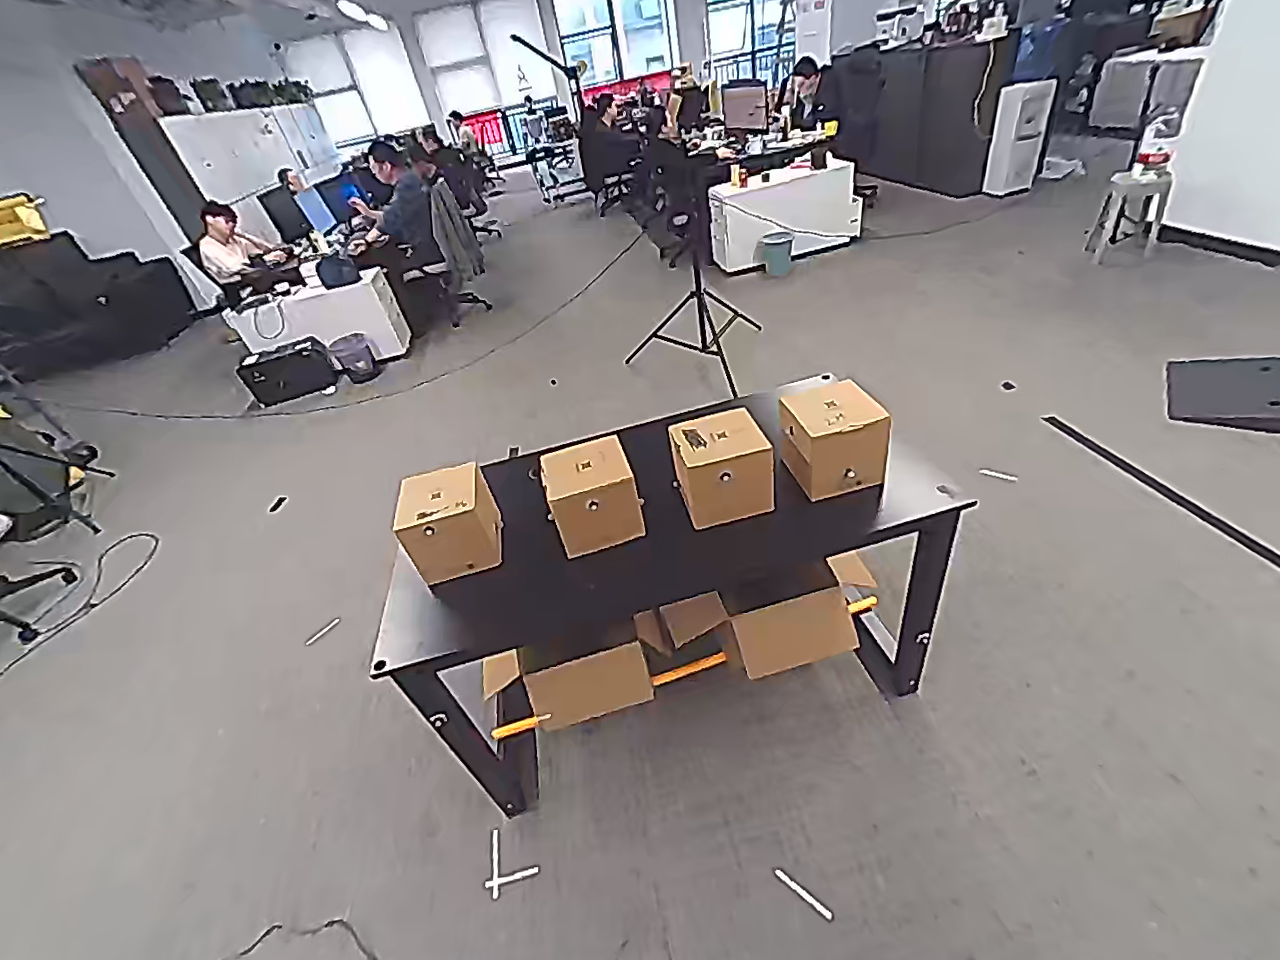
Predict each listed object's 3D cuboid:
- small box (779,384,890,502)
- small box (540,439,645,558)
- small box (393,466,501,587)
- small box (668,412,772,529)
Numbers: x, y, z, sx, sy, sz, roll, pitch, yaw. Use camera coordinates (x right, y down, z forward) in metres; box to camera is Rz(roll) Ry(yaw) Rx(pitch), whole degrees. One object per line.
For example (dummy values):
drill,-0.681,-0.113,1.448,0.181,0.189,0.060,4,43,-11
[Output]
small box,0.408,-0.080,1.162,0.168,0.176,0.179,-15,37,-1
small box,-0.102,0.043,1.161,0.179,0.176,0.168,-16,38,-6
small box,-0.408,0.099,1.173,0.168,0.176,0.179,-16,37,-4
small box,0.171,-0.017,1.153,0.179,0.176,0.168,-14,37,-1
